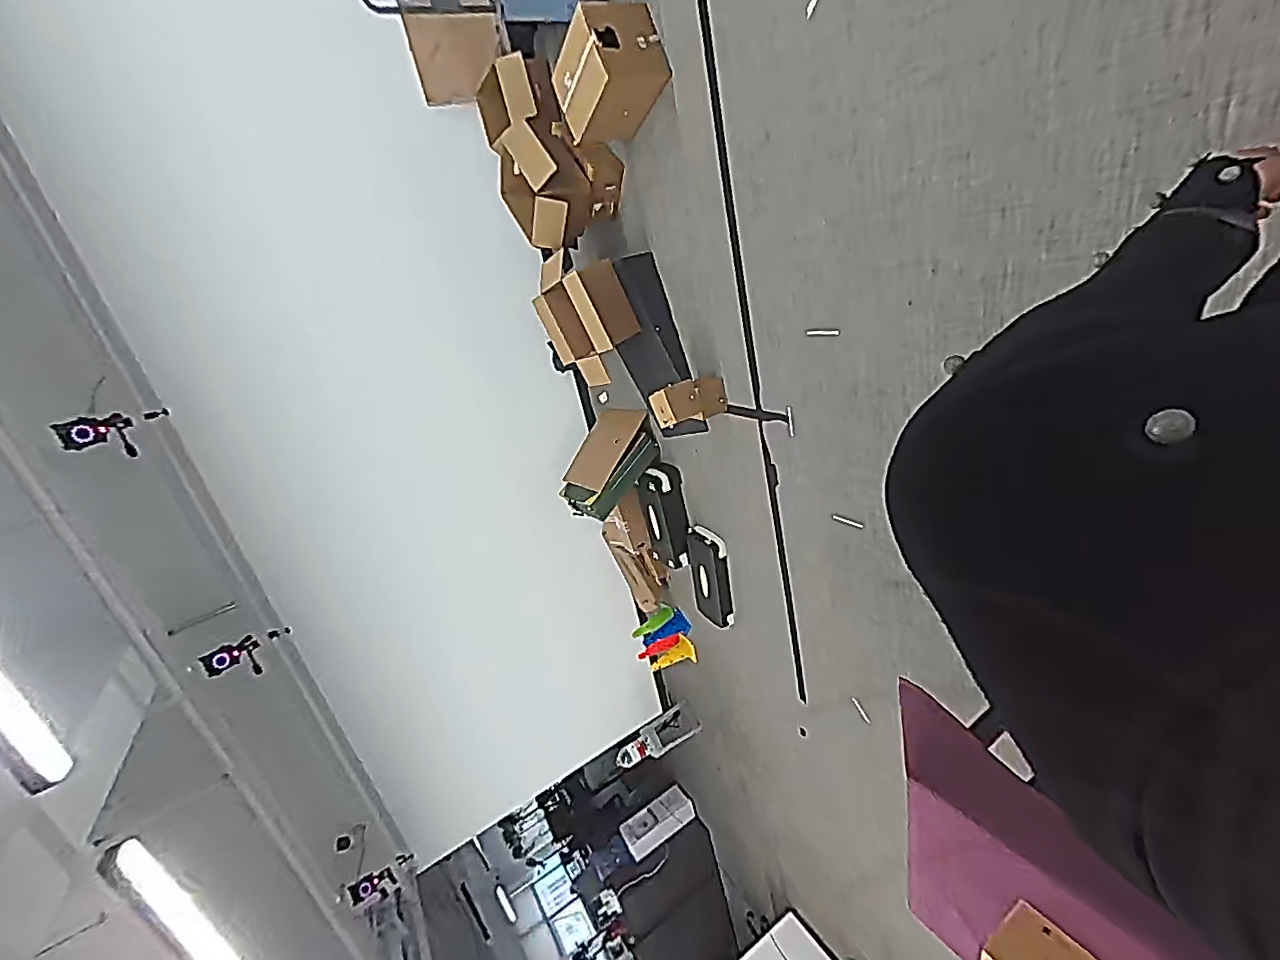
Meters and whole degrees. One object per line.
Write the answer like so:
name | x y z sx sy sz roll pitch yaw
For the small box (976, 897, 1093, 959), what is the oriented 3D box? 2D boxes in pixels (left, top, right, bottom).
small box | 0.863 1.075 1.182 0.168 0.176 0.179 26 135 54
